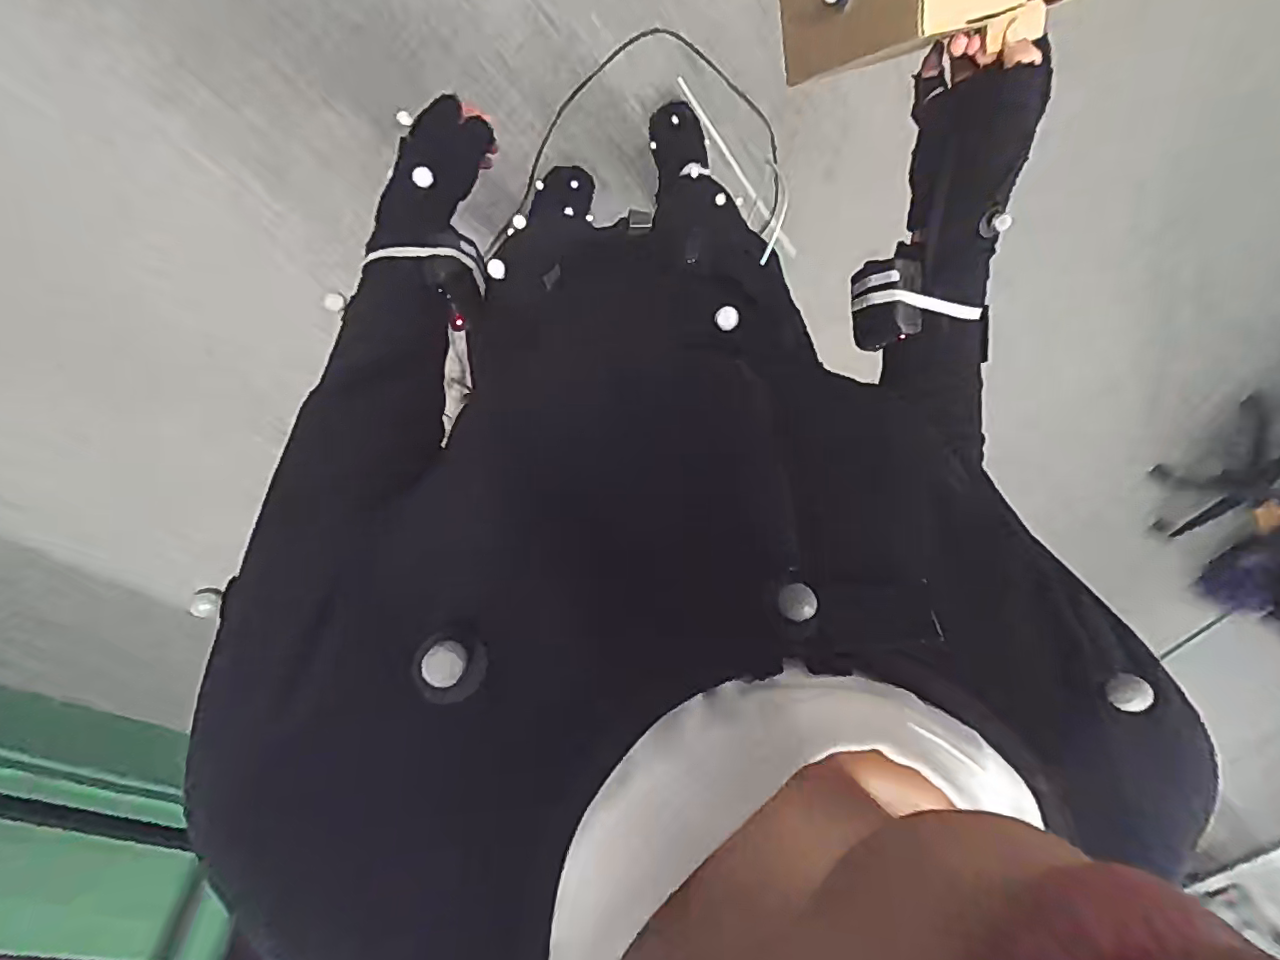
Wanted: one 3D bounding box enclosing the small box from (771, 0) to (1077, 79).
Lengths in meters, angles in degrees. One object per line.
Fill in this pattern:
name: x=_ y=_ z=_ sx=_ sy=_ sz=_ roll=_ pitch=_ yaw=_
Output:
small box: x=0.197 y=-0.403 z=0.370 sx=0.168 sy=0.176 sz=0.179 roll=-21 pitch=120 yaw=-6
